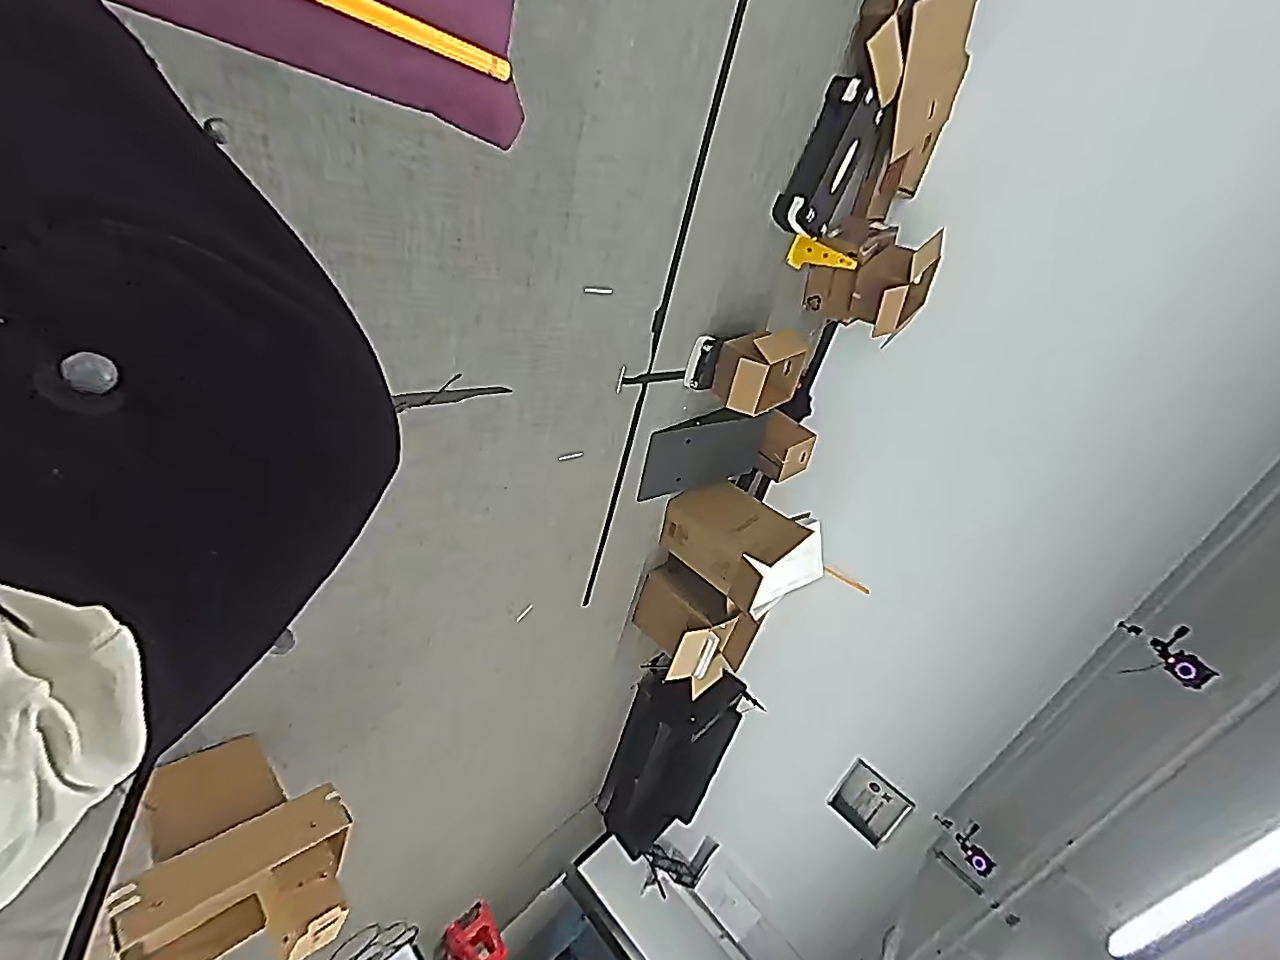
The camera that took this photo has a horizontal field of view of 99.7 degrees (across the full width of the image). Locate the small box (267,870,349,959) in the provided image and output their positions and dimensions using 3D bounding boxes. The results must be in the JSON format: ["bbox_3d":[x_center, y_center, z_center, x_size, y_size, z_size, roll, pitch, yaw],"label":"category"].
[{"bbox_3d":[-1.106,1.447,1.795,0.168,0.176,0.179,3,119,-55],"label":"small box"}]
